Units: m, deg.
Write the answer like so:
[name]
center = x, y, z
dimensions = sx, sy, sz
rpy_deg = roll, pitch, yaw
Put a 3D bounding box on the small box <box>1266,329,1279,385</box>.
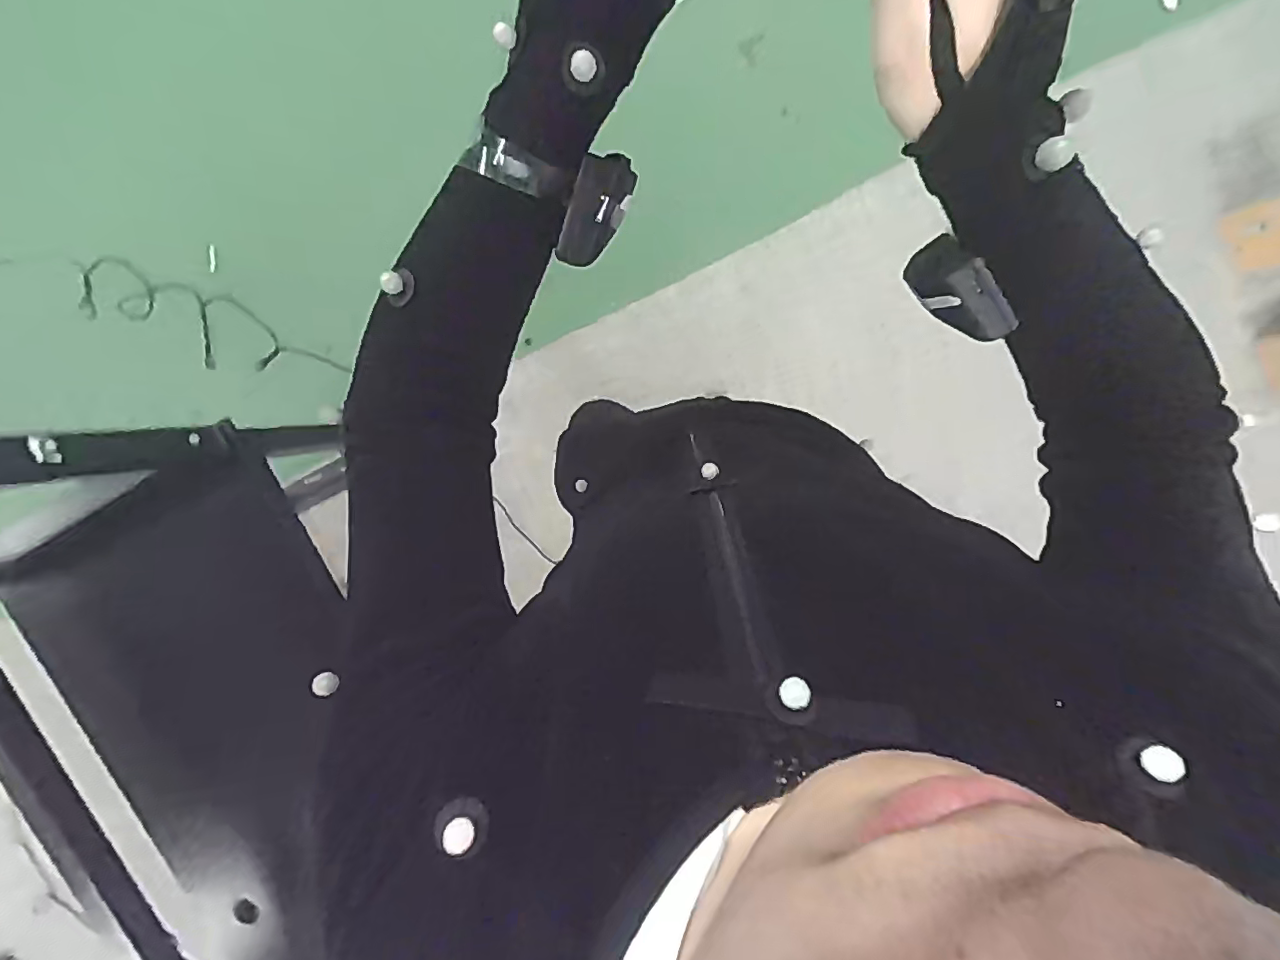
[small box]
center = 1.751, -0.329, 1.351
dimensions = 0.168, 0.176, 0.179
rpy_deg = -23, 95, 8
